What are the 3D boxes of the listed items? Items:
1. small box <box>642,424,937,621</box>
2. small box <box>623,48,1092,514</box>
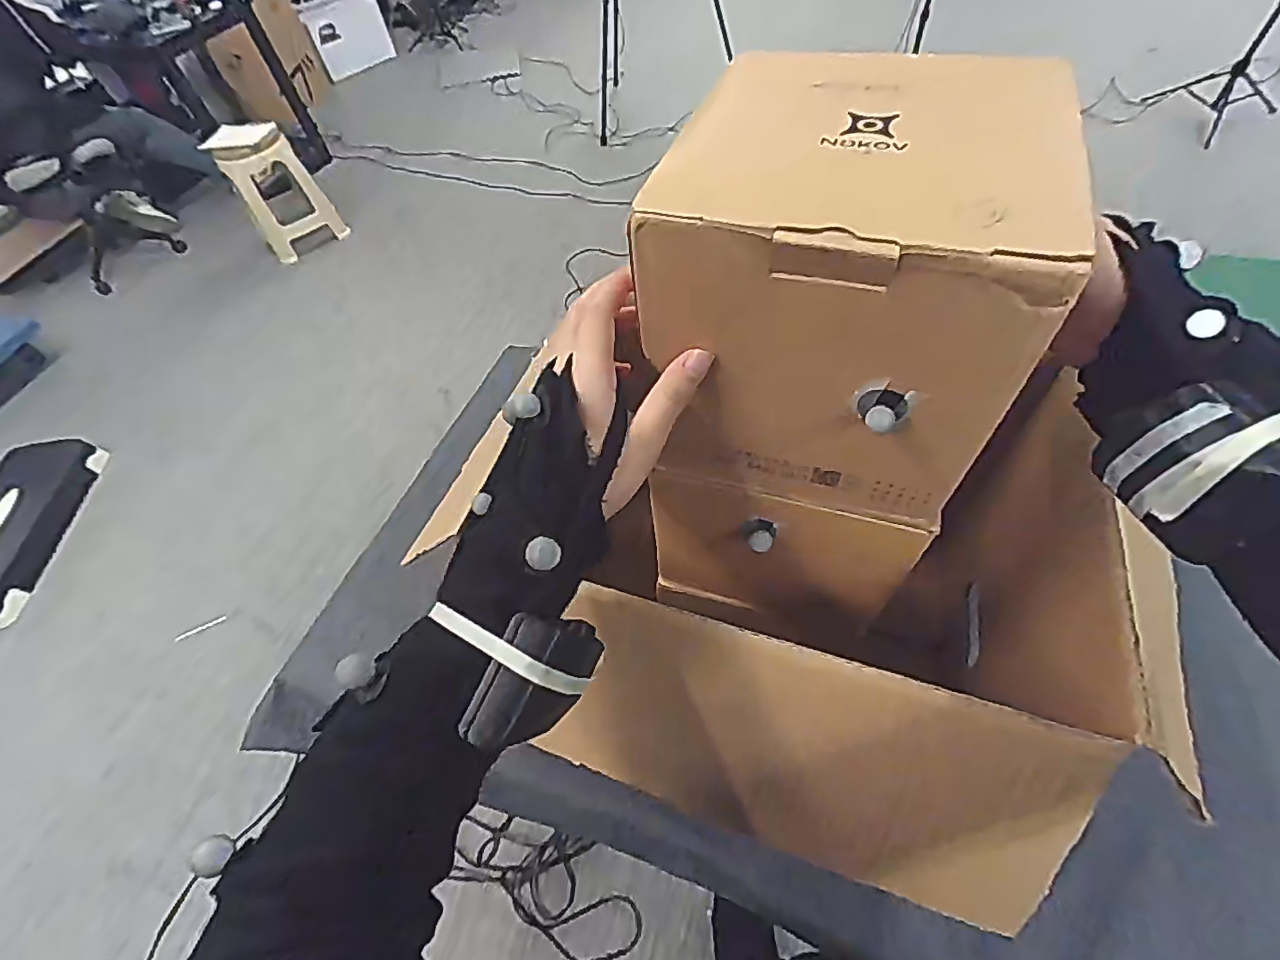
[{"bbox_3d":[0.116,-0.006,0.428,0.179,0.176,0.168,14,58,16],"label":"small box"},{"bbox_3d":[0.105,-0.106,0.301,0.168,0.176,0.179,15,57,15],"label":"small box"}]
